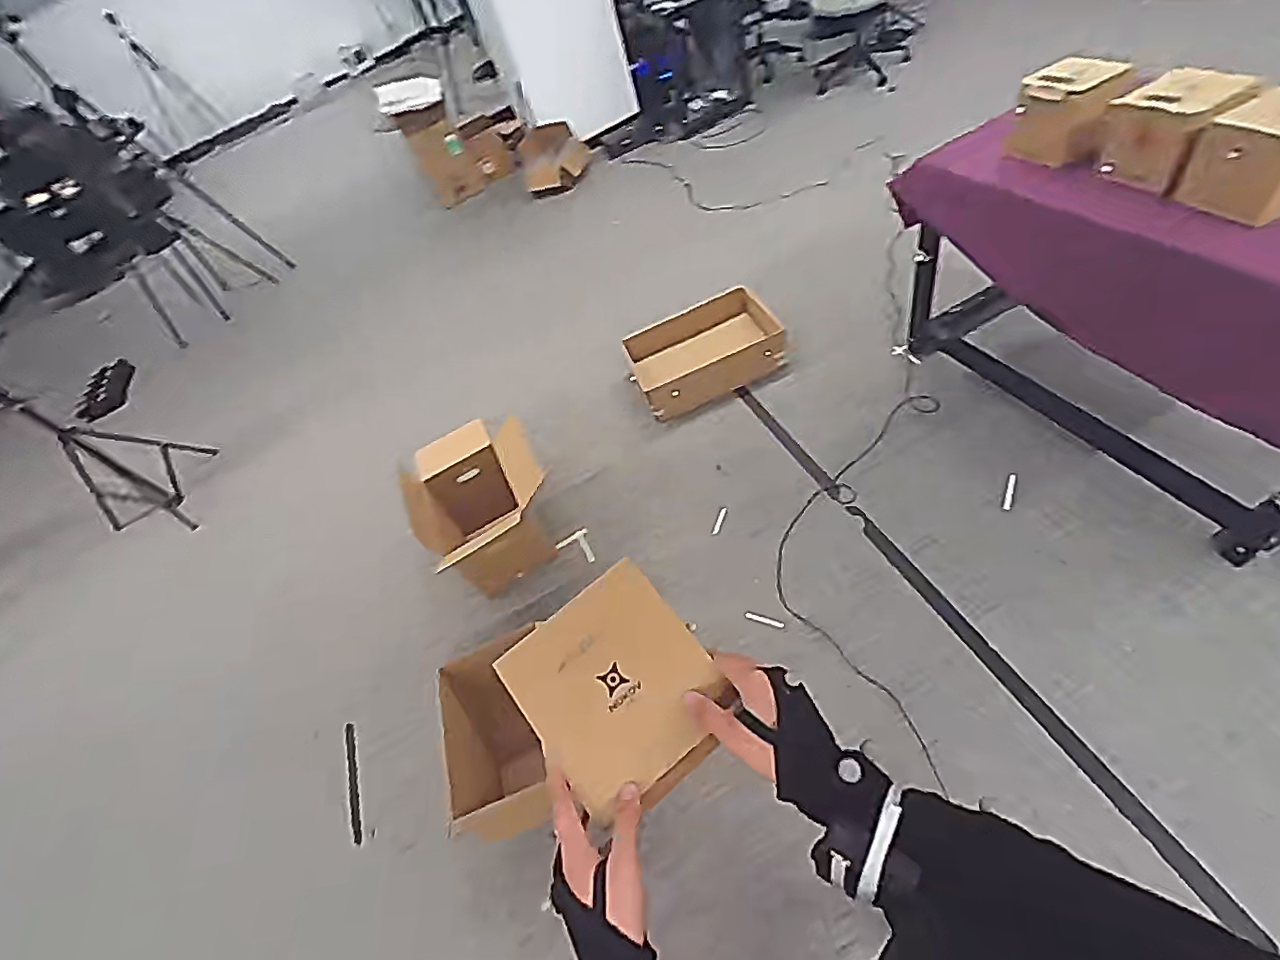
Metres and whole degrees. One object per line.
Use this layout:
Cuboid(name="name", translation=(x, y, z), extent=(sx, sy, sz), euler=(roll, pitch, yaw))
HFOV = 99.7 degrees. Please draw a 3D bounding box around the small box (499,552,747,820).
Cuboid(name="small box", translation=(-0.013, 0.205, 0.567), extent=(0.168, 0.176, 0.179), euler=(-37, 71, -11))
